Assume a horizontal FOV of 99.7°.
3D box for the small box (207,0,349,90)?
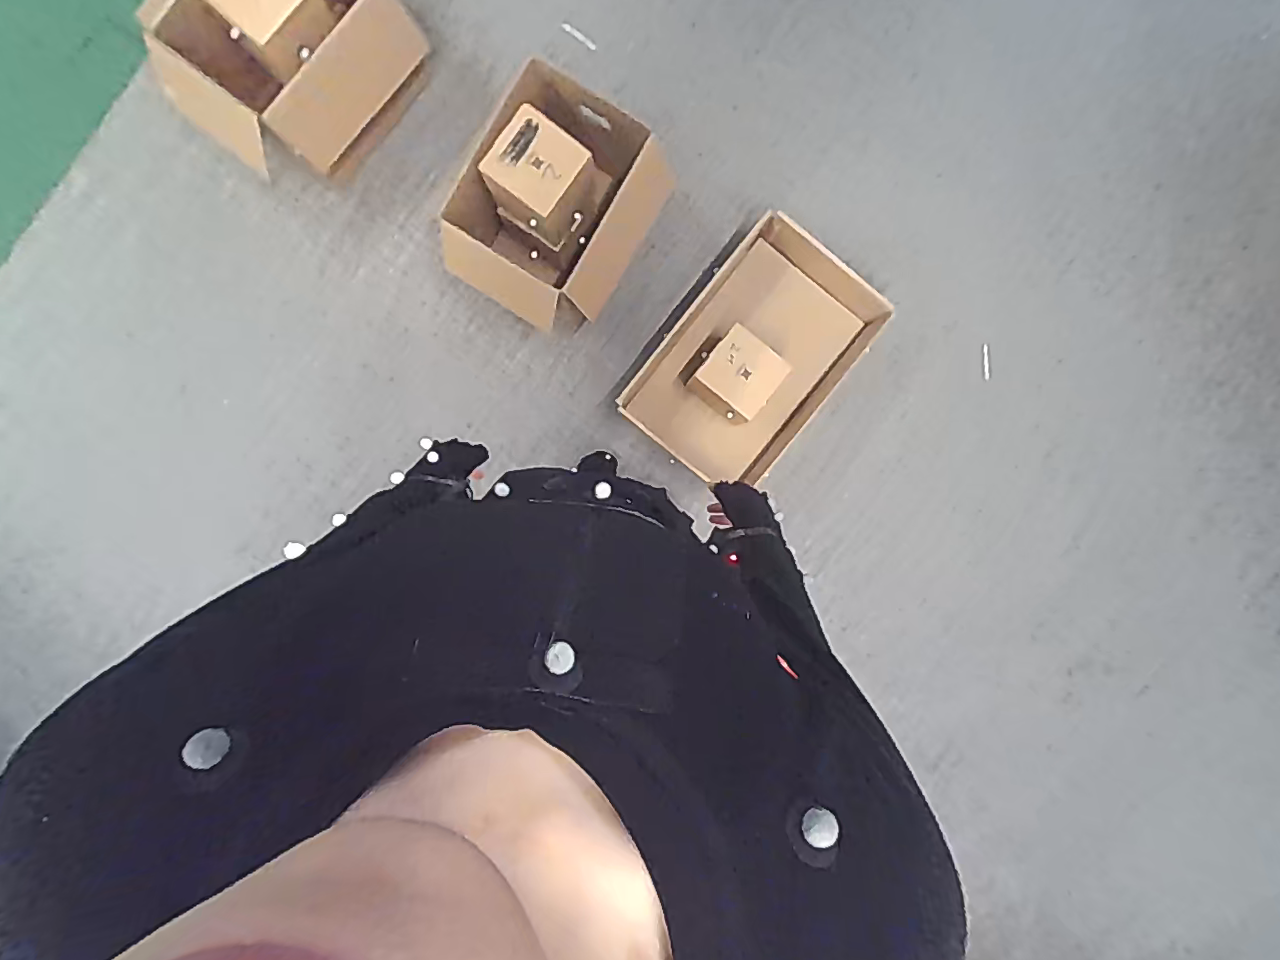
[{"bbox_3d":[-0.782,-1.003,1.175,0.179,0.176,0.168,40,89,-3],"label":"small box"}]
